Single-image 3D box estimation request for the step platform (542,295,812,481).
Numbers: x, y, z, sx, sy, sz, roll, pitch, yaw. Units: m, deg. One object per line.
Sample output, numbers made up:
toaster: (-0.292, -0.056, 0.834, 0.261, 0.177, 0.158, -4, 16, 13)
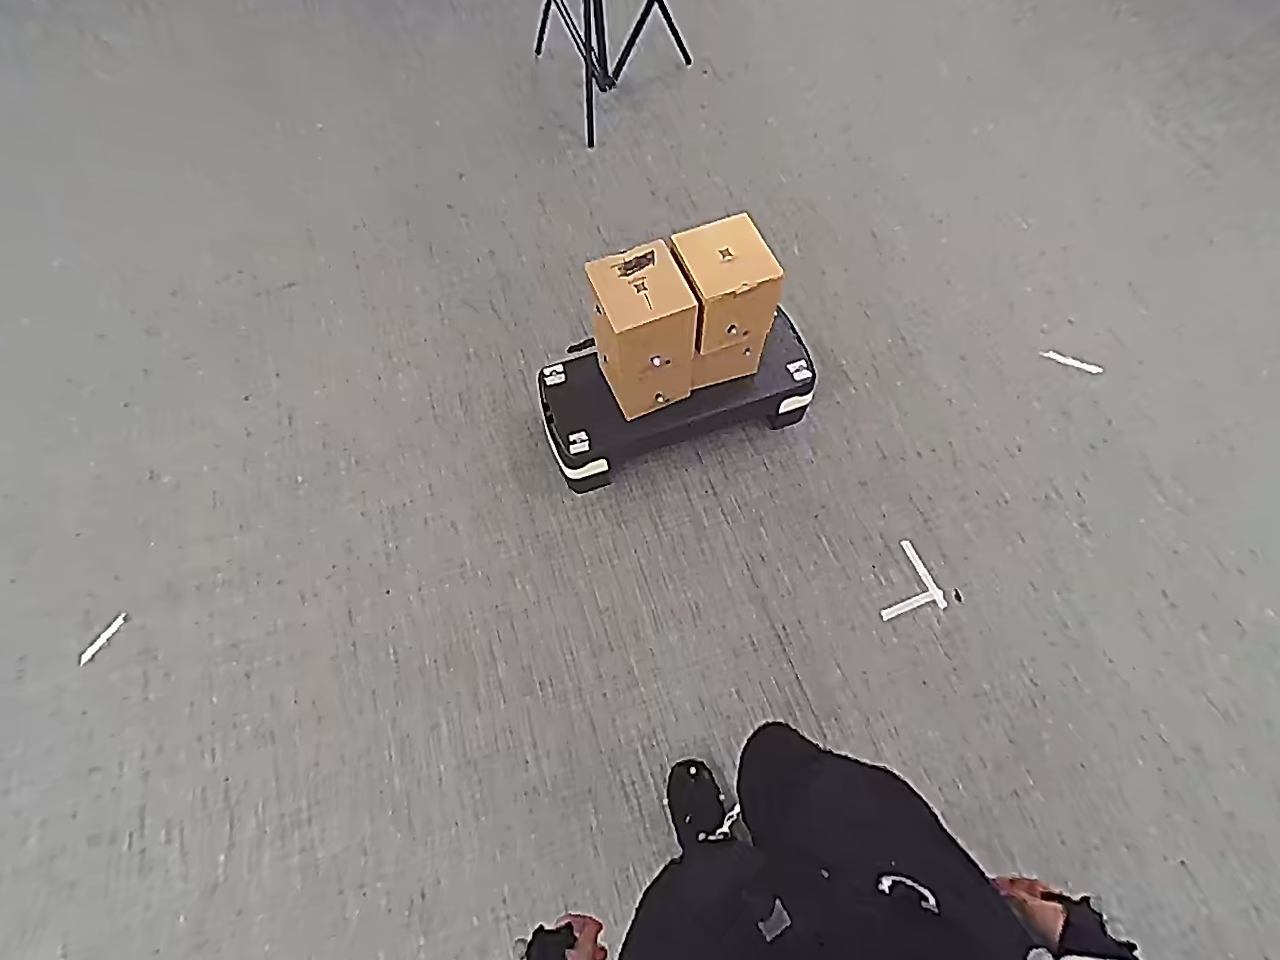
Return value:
step platform: (0.092, -0.245, 1.416, 0.684, 0.204, 0.286, -19, 67, -5)
